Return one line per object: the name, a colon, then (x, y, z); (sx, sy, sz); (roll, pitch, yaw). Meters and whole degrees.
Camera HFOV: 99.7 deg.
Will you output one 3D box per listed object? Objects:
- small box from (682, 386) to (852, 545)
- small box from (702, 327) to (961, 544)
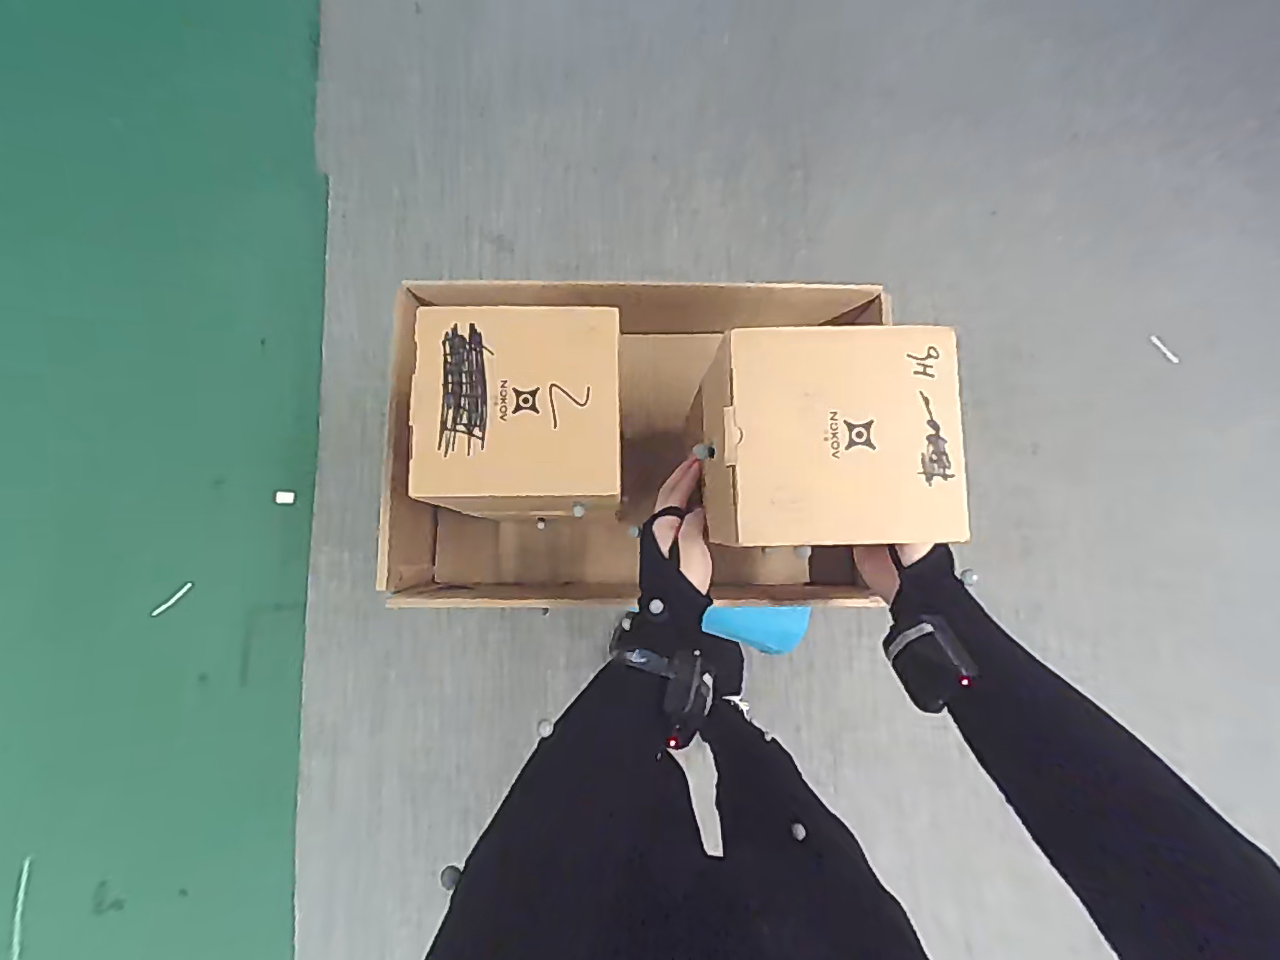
small box: (0.143, -0.008, 0.645); (0.179, 0.176, 0.168); (2, 85, 0)
small box: (0.148, -0.026, 0.482); (0.179, 0.176, 0.168); (-1, 85, -1)
